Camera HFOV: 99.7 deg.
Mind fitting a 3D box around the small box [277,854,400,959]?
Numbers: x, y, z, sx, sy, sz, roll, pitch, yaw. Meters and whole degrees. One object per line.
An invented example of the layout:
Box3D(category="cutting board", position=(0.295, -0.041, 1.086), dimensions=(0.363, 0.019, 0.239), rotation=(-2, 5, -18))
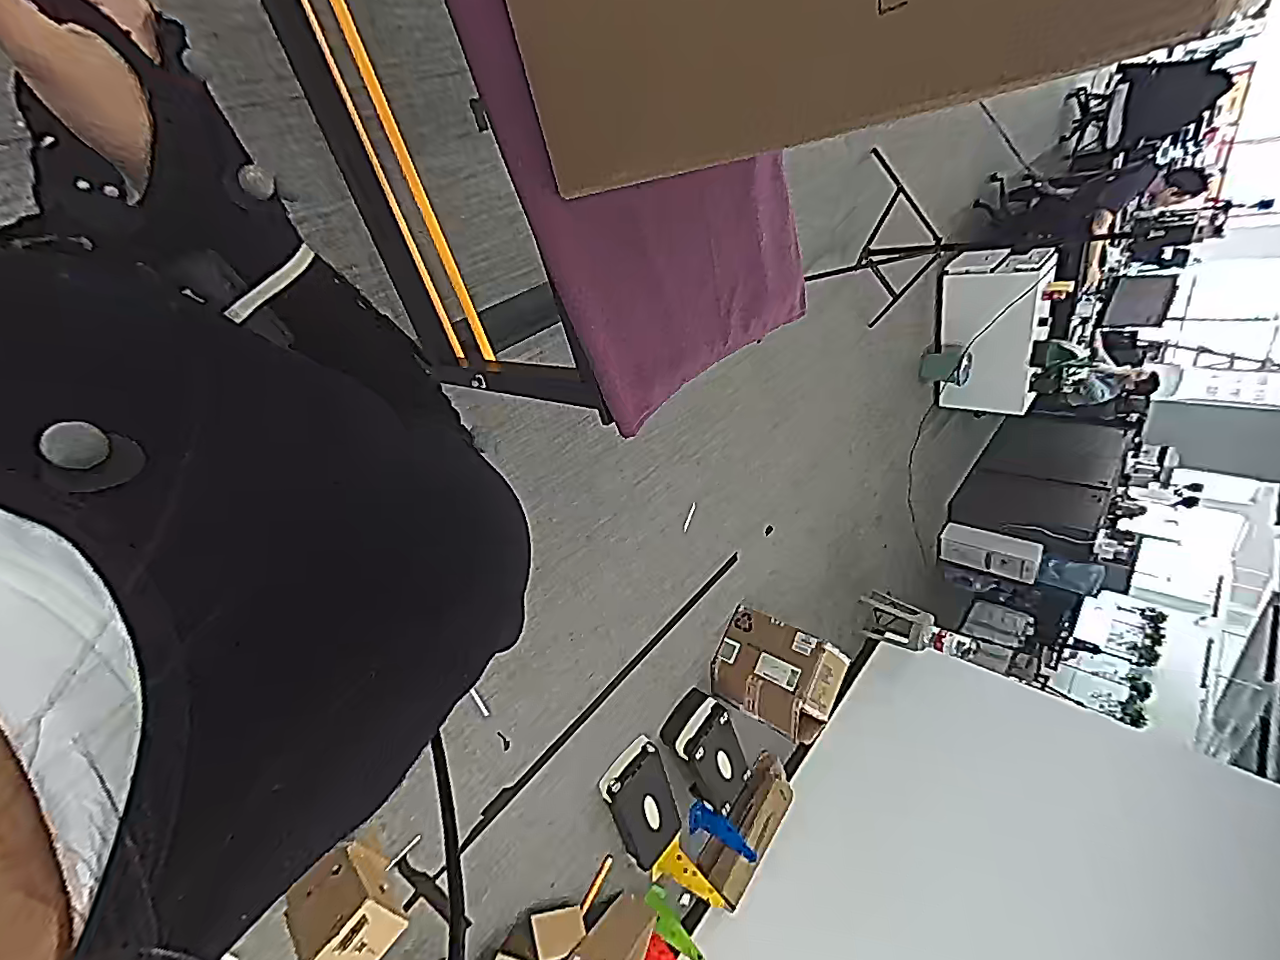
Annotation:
Box3D(category="small box", position=(-0.716, 1.036, 1.281), dimensions=(0.168, 0.176, 0.179), rotation=(-42, 130, -29))
